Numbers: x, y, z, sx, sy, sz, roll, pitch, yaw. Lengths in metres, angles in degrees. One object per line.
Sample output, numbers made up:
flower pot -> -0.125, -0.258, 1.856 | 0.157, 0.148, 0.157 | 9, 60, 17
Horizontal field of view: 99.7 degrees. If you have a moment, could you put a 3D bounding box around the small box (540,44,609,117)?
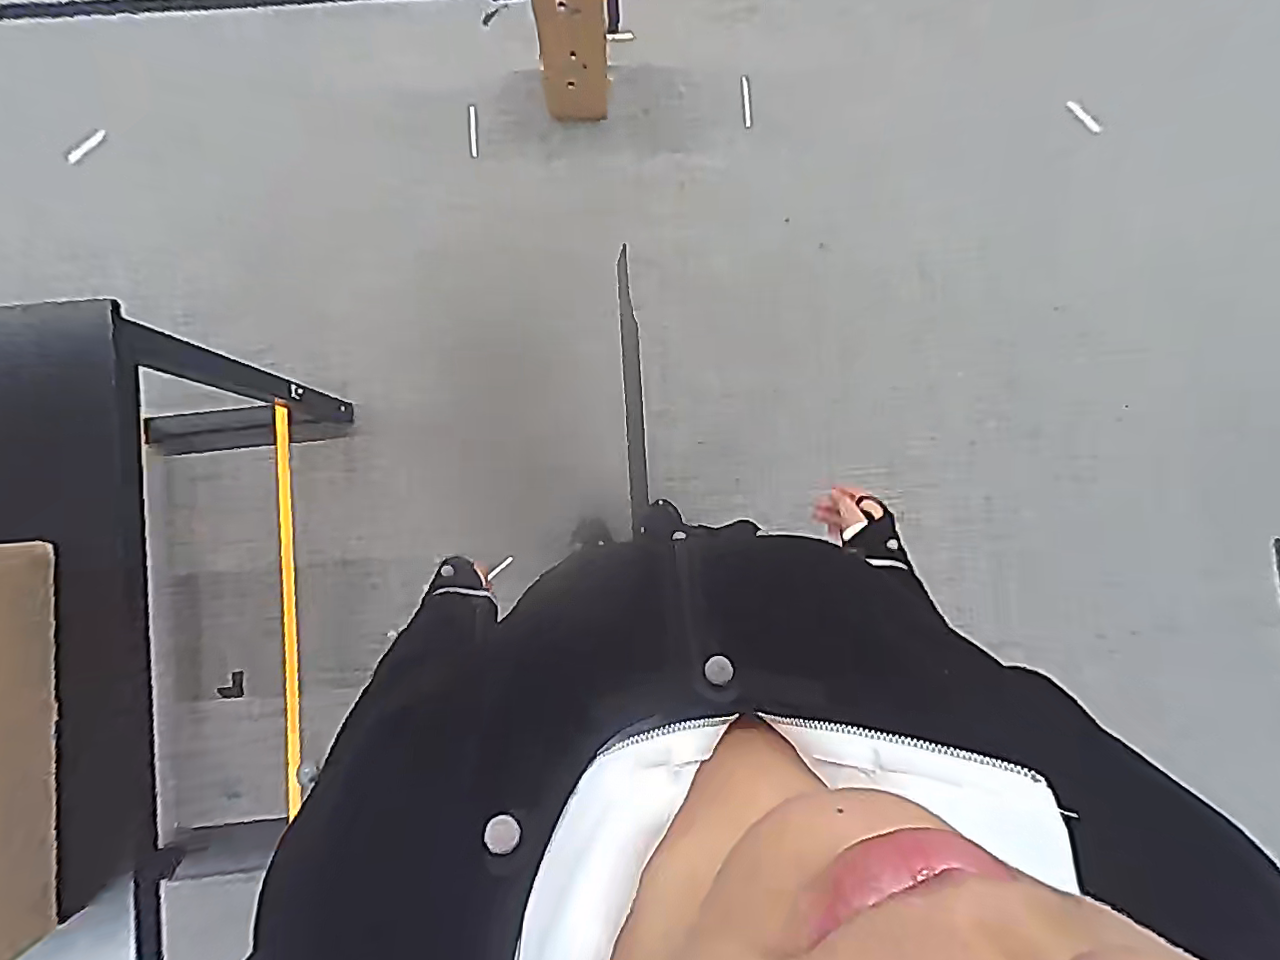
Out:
small box -> -0.175, -1.135, 1.489 | 0.179, 0.176, 0.168 | -1, 87, -2

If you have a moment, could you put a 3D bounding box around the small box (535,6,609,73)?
small box -> -0.163, -1.149, 1.325 | 0.168, 0.176, 0.179 | -1, 87, -1

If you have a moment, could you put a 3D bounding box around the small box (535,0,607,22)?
small box -> -0.156, -1.144, 1.162 | 0.168, 0.176, 0.179 | -1, 88, -1
